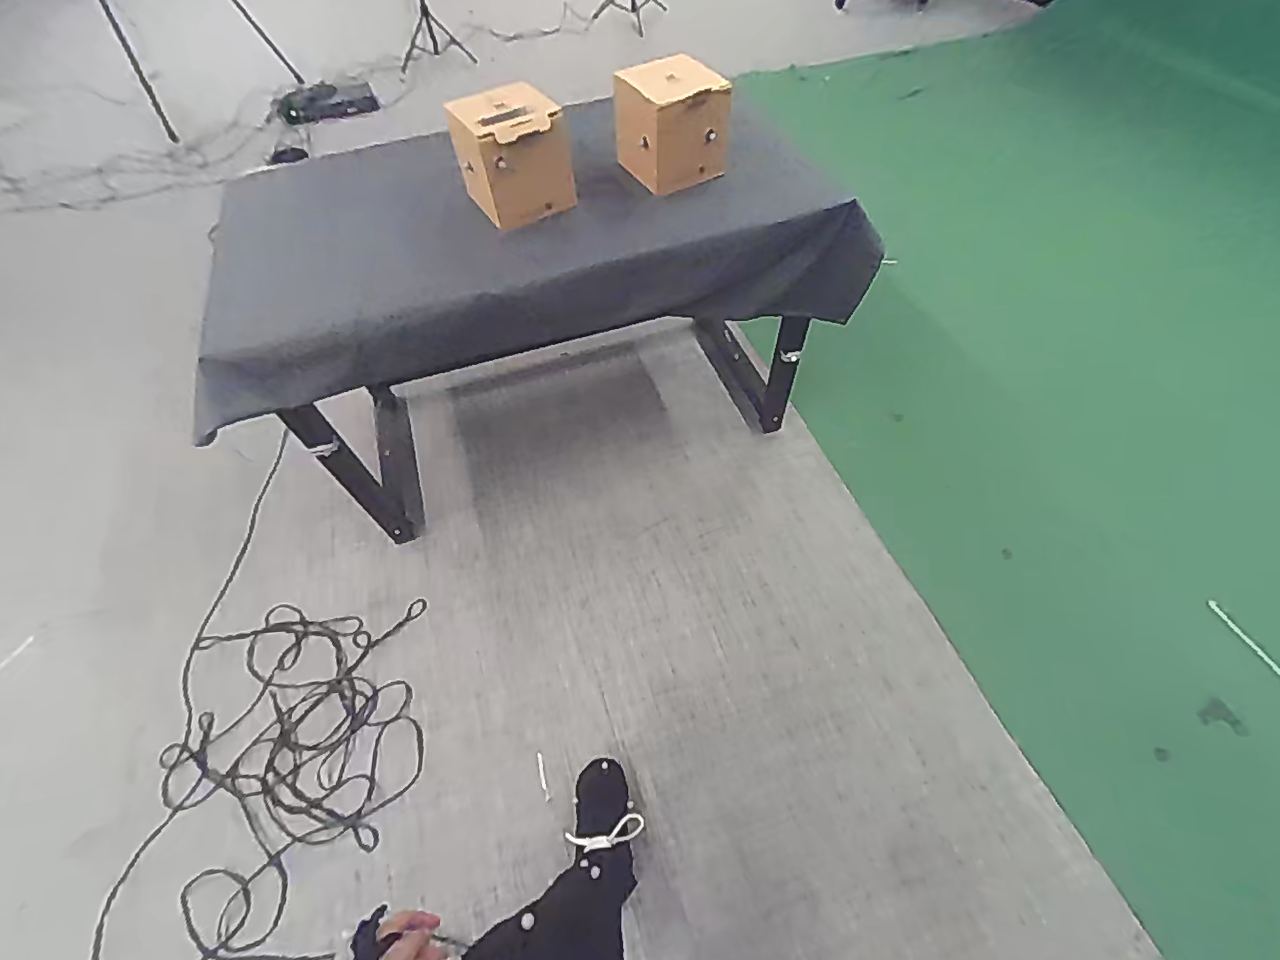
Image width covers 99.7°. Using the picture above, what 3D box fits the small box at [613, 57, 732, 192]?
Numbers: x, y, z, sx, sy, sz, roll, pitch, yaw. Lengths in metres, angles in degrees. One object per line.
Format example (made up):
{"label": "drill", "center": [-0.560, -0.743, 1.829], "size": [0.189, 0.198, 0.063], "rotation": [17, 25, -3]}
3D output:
{"label": "small box", "center": [0.062, -0.704, 1.081], "size": [0.168, 0.176, 0.179], "rotation": [-26, 58, -15]}
